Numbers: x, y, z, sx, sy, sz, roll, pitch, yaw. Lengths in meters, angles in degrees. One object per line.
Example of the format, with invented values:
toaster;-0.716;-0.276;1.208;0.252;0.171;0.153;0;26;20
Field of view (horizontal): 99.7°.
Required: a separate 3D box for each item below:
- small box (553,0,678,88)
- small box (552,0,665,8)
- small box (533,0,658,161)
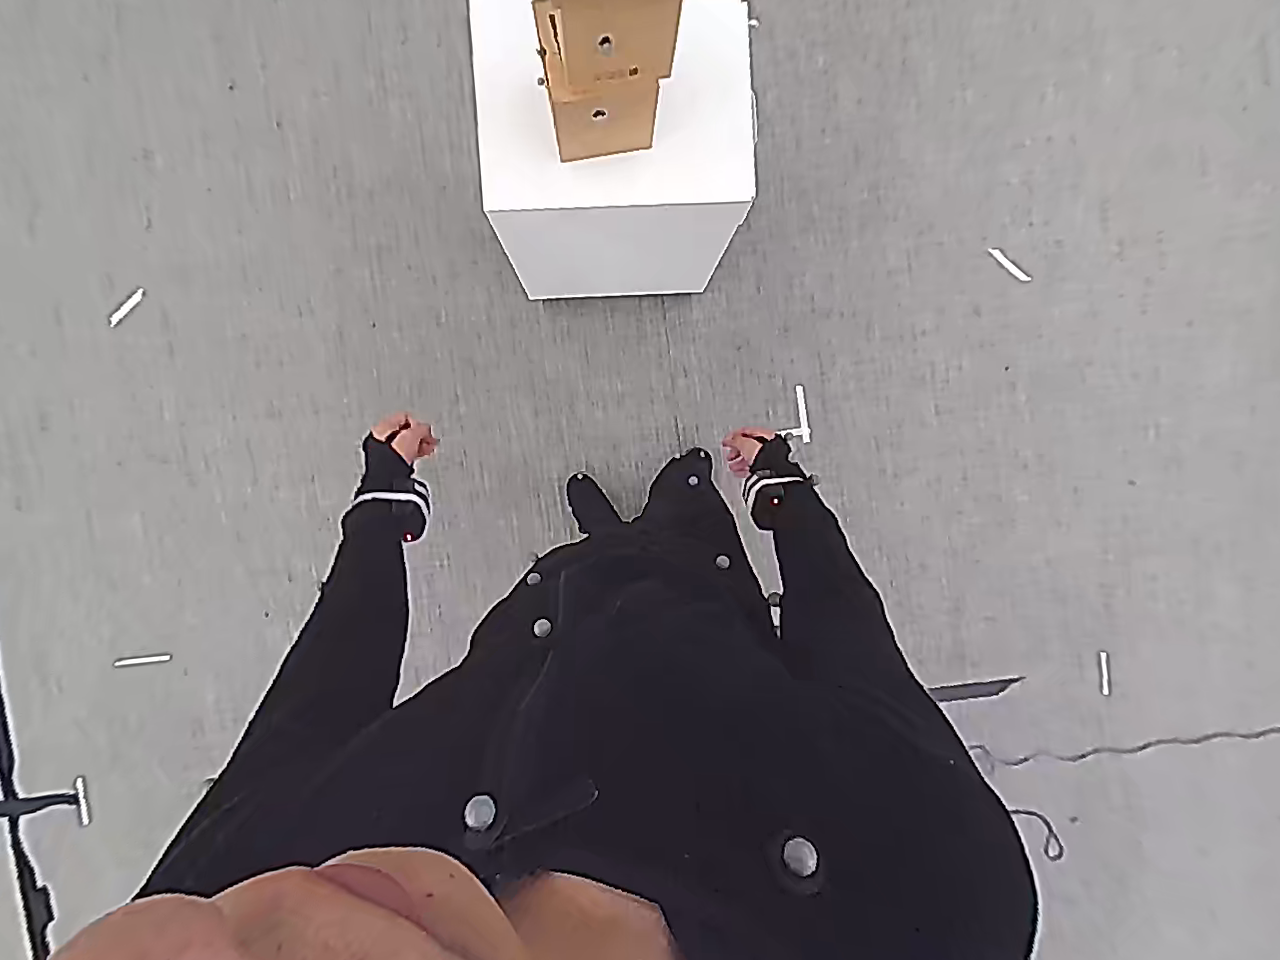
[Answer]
small box;-0.042;-0.698;0.771;0.168;0.176;0.179;-10;91;-3
small box;-0.034;-0.681;0.606;0.179;0.176;0.168;-7;92;-3
small box;-0.073;-0.683;0.932;0.179;0.176;0.168;-11;92;-3
